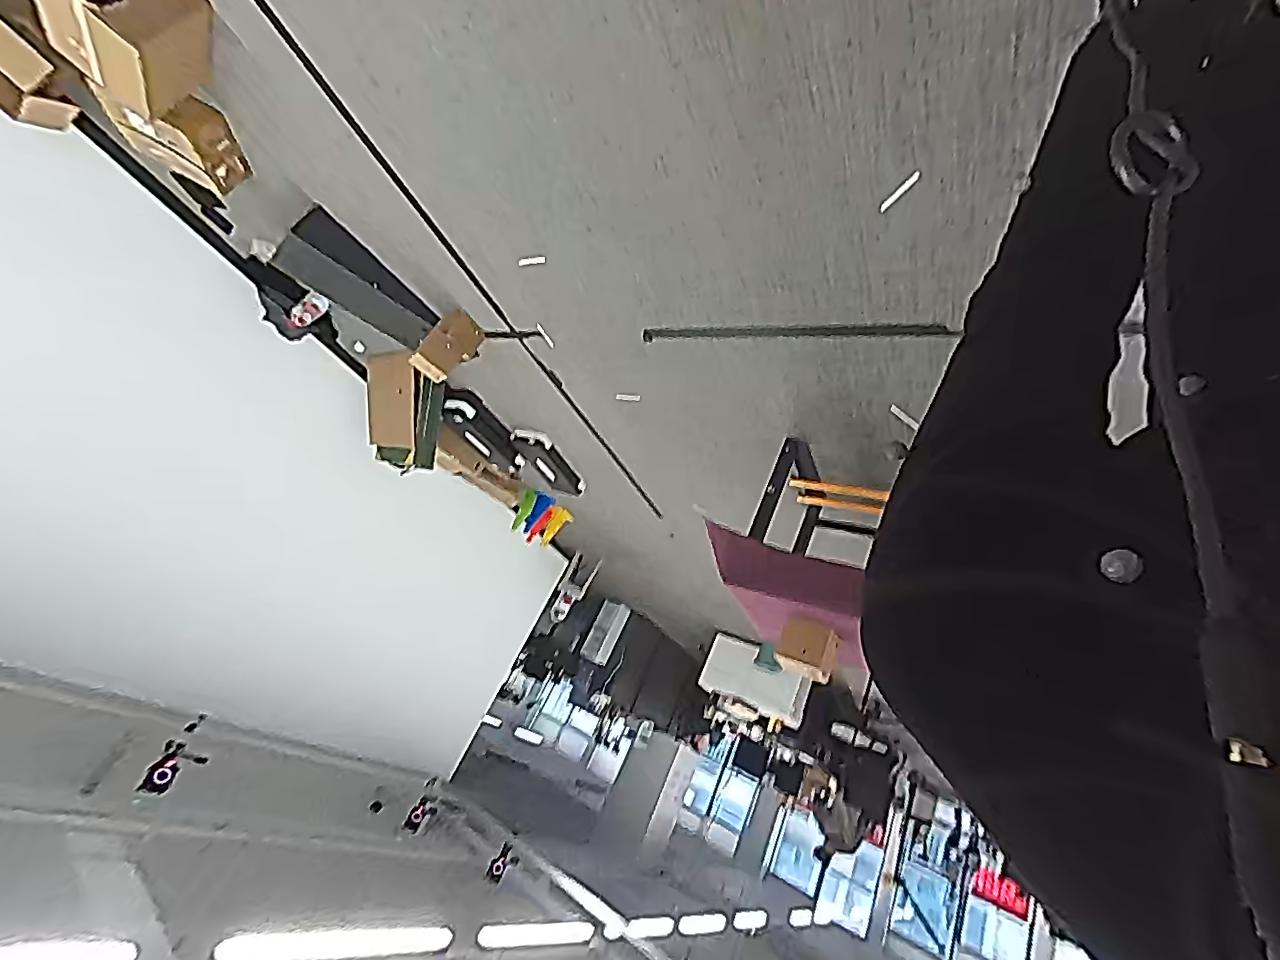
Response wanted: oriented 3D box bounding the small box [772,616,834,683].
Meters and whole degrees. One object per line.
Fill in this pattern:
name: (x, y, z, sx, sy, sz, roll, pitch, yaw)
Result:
small box: (0.624, 0.637, 2.046, 0.179, 0.176, 0.168, 11, 151, 36)
